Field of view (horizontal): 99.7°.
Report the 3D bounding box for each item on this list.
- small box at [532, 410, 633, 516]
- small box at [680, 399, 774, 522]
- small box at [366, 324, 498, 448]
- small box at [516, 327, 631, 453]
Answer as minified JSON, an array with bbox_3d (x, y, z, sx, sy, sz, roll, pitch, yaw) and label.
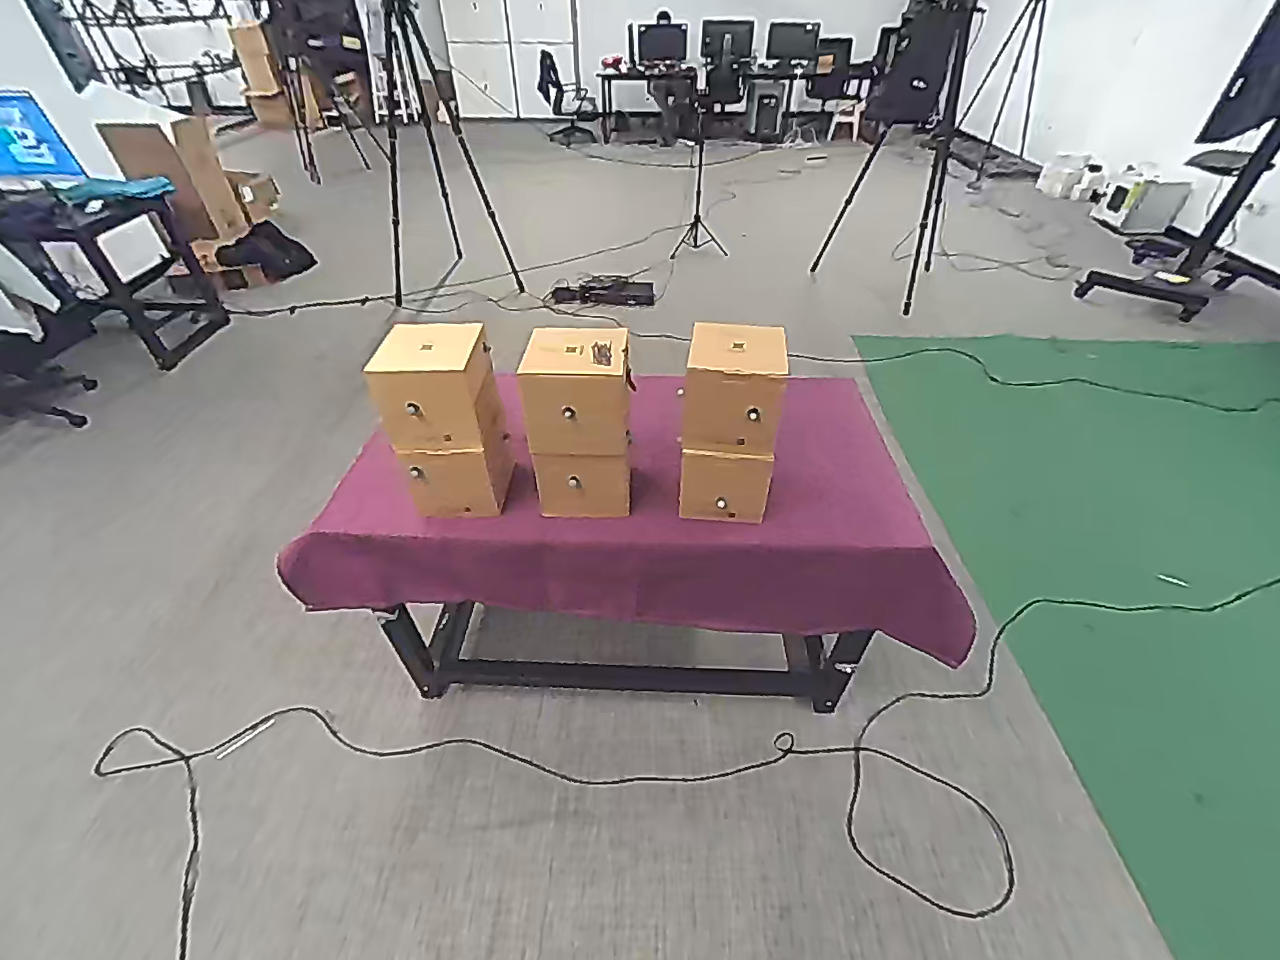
[{"bbox_3d":[-0.106,-0.041,1.091,0.179,0.176,0.168,0,42,2],"label":"small box"},{"bbox_3d":[0.170,-0.040,1.080,0.168,0.176,0.179,4,42,6],"label":"small box"},{"bbox_3d":[-0.368,-0.170,0.997,0.168,0.176,0.179,-2,41,-1],"label":"small box"},{"bbox_3d":[-0.109,-0.161,0.977,0.179,0.176,0.168,1,41,3],"label":"small box"}]
